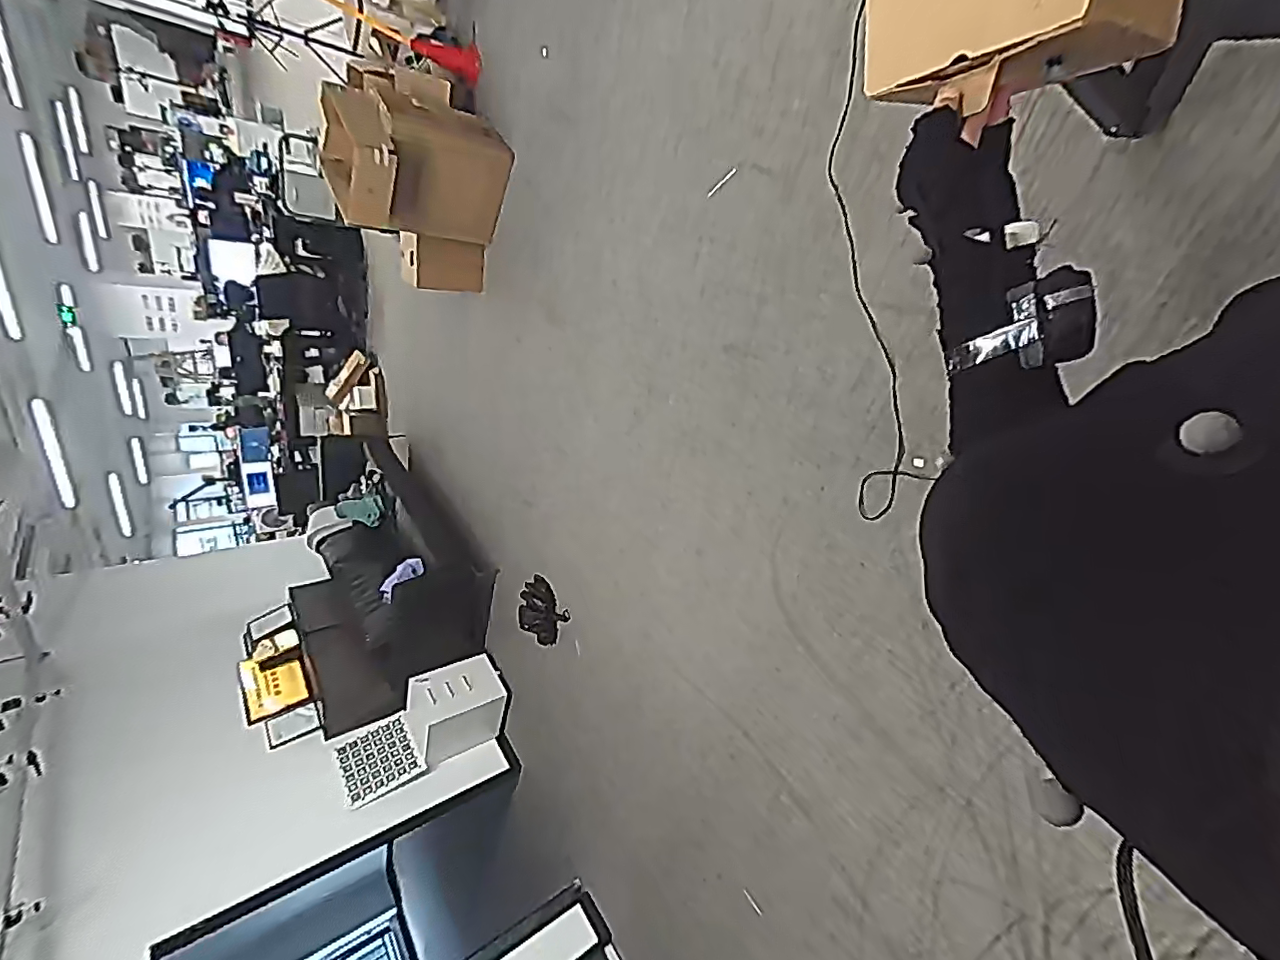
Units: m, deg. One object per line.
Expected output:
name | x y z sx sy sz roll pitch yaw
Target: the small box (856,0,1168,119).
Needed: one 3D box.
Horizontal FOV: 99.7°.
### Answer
small box | 0.295 -0.407 0.427 0.168 0.176 0.179 21 123 52
